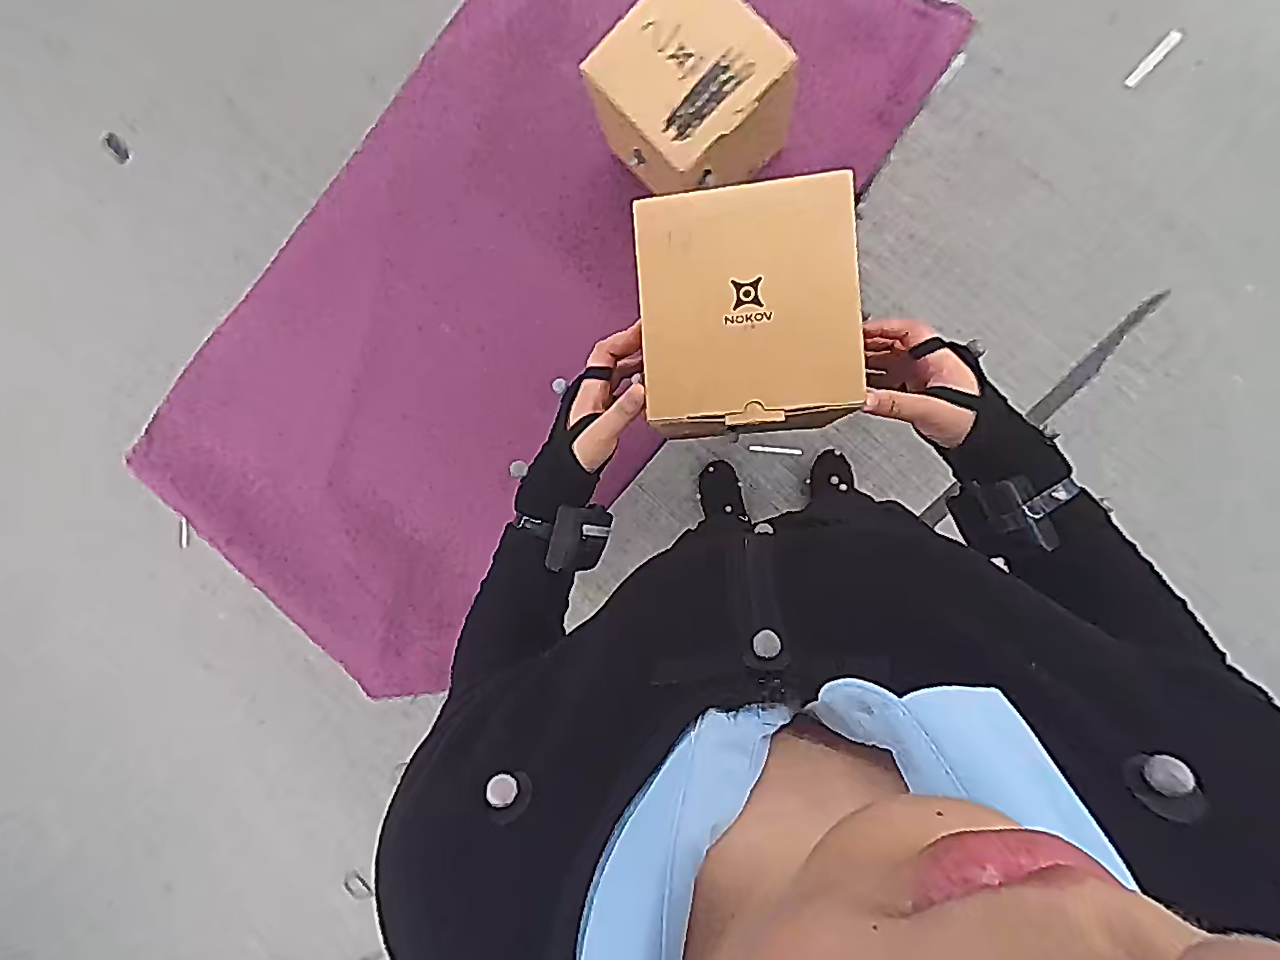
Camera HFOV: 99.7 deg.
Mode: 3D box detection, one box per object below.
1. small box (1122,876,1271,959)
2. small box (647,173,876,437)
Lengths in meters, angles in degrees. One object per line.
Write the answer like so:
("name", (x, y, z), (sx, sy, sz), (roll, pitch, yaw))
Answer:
("small box", (1.312, 1.086, 1.271), (0.179, 0.176, 0.168), (39, 99, 4))
("small box", (0.098, -0.136, 0.484), (0.168, 0.176, 0.179), (-3, 90, 8))
